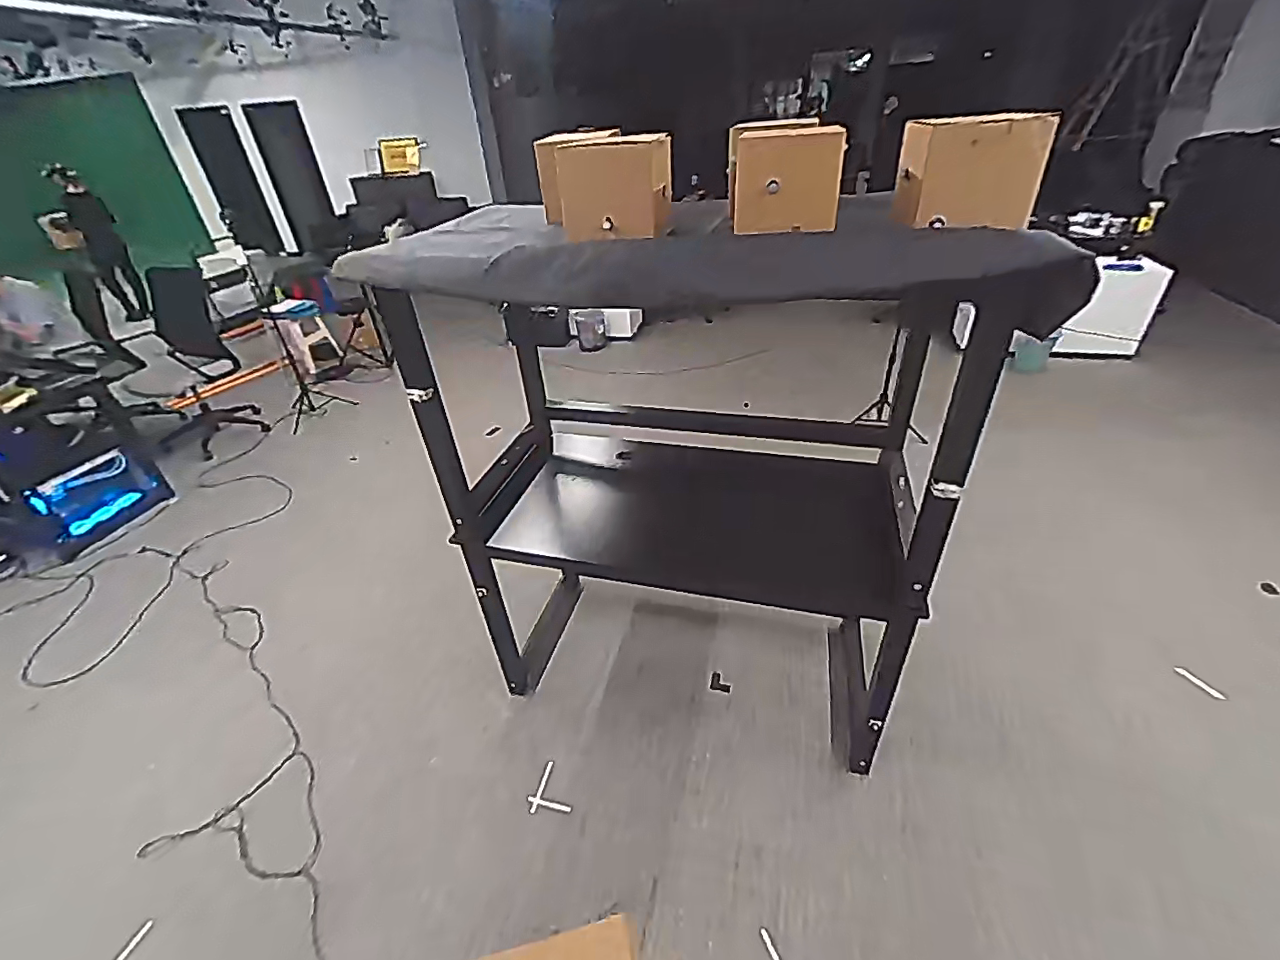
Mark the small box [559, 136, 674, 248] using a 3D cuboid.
[{"bbox_3d":[-0.034,-0.547,1.027,0.179,0.176,0.168,6,35,13],"label":"small box"}]

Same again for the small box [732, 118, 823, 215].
[{"bbox_3d":[0.300,-0.685,1.186,0.179,0.176,0.168,6,37,15],"label":"small box"}]

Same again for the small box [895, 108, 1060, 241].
[{"bbox_3d":[0.527,-0.489,0.875,0.168,0.176,0.179,2,34,11],"label":"small box"}]

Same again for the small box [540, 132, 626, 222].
[{"bbox_3d":[-0.122,-0.716,1.281,0.168,0.176,0.179,1,35,10],"label":"small box"}]

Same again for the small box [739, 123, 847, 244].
[{"bbox_3d":[0.265,-0.519,0.953,0.168,0.176,0.179,5,35,13],"label":"small box"}]
